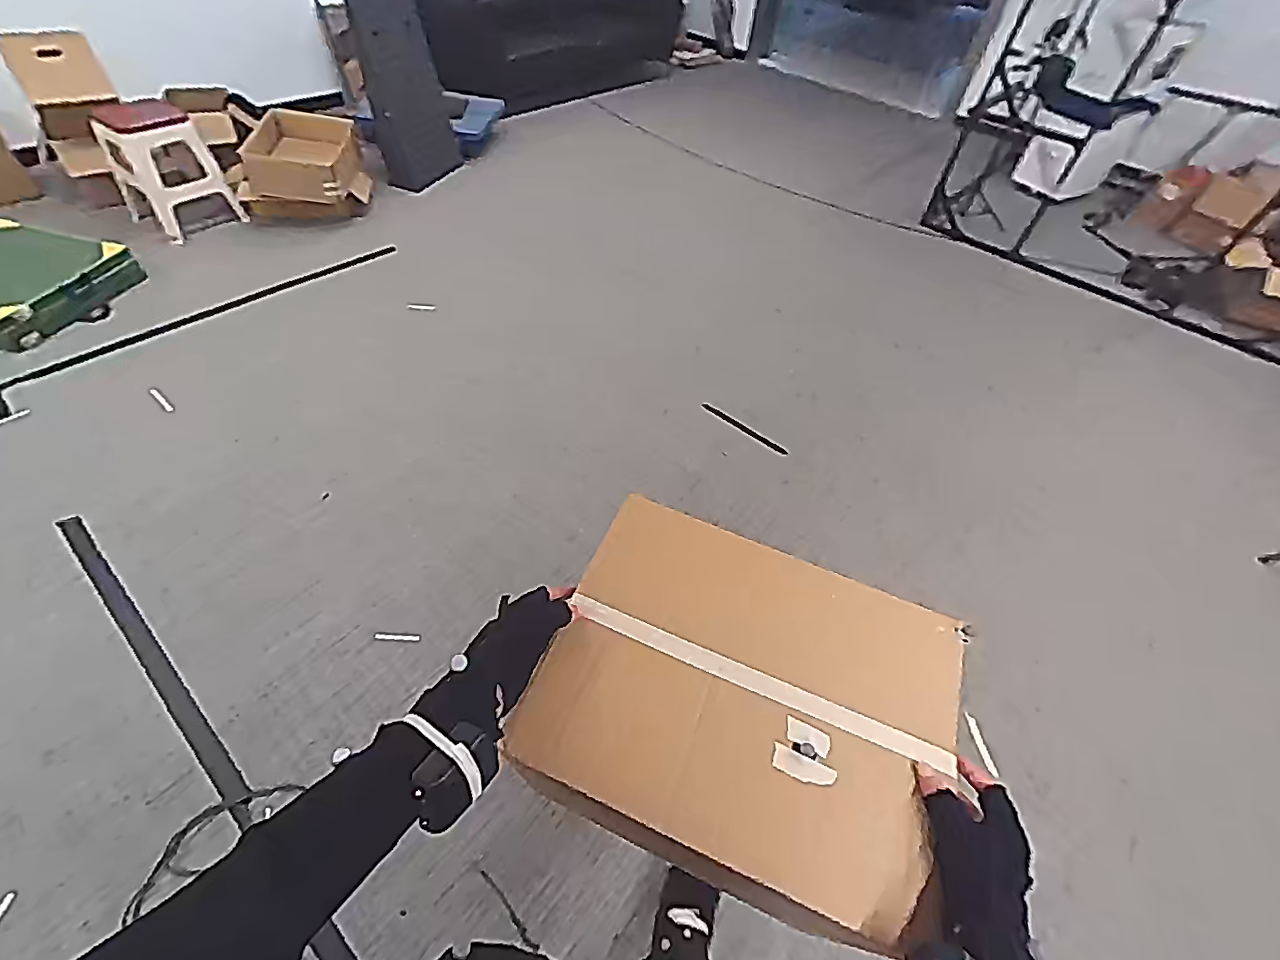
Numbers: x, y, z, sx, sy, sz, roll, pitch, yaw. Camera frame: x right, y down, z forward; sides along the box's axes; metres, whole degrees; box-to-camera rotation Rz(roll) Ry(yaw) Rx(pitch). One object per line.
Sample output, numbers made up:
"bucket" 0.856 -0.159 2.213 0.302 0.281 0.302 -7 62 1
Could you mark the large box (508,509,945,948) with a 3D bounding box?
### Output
"large box" 0.098 0.299 0.685 0.408 0.320 0.320 21 56 10
